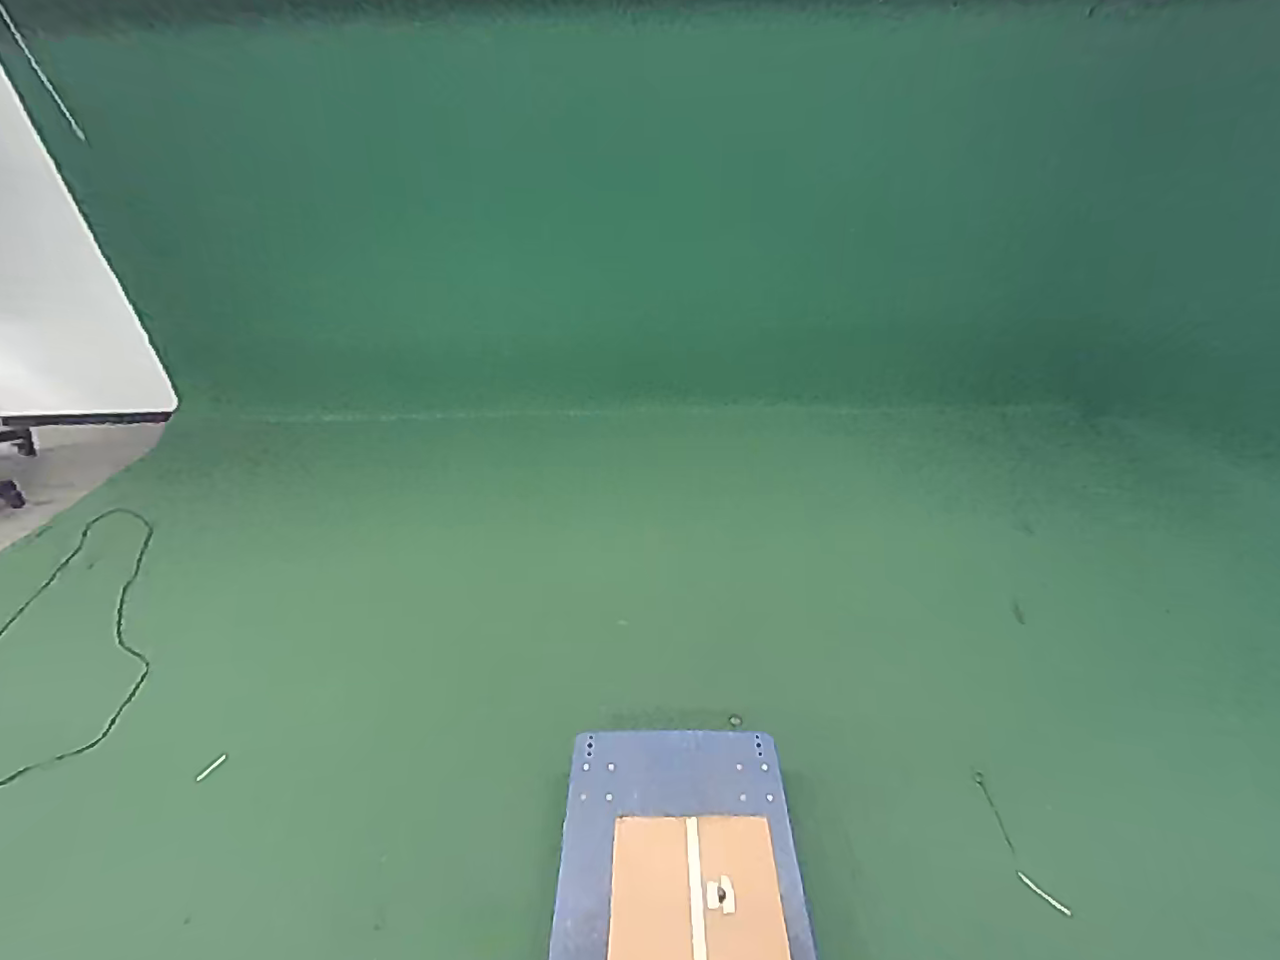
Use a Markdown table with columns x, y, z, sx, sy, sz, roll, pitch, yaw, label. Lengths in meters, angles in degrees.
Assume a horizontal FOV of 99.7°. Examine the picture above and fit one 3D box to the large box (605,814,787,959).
| x | y | z | sx | sy | sz | roll | pitch | yaw | label |
| --- | --- | --- | --- | --- | --- | --- | --- | --- | --- |
| 0.099 | 0.922 | 1.023 | 0.320 | 0.320 | 0.408 | 0 | 33 | 1 | large box |
